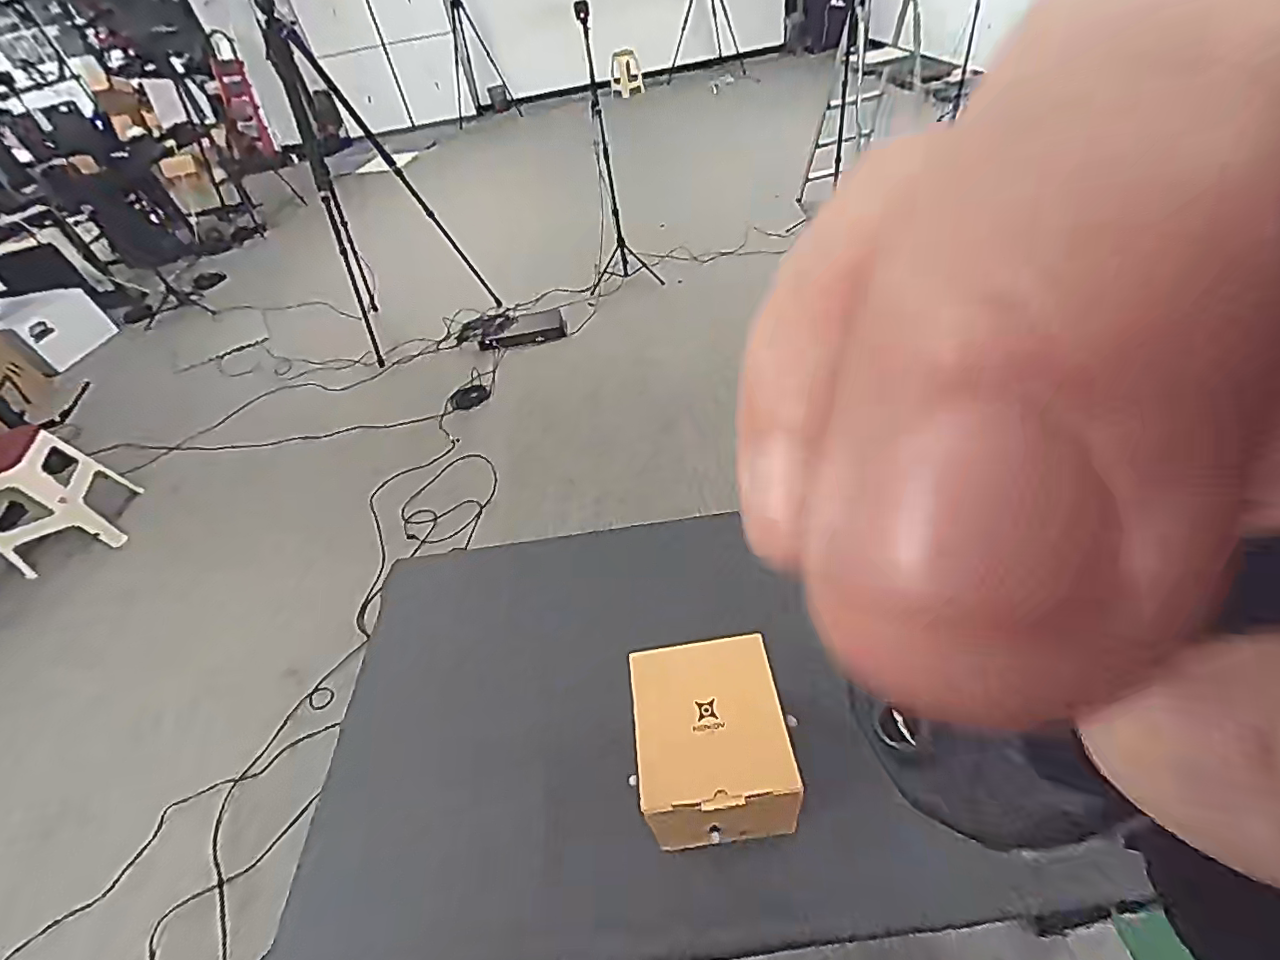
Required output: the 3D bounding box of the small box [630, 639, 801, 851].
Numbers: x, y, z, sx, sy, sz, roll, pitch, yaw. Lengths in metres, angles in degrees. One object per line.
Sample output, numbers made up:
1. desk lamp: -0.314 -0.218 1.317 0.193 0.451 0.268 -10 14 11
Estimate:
1. small box: 0.082 0.321 0.654 0.168 0.176 0.179 -9 45 1
